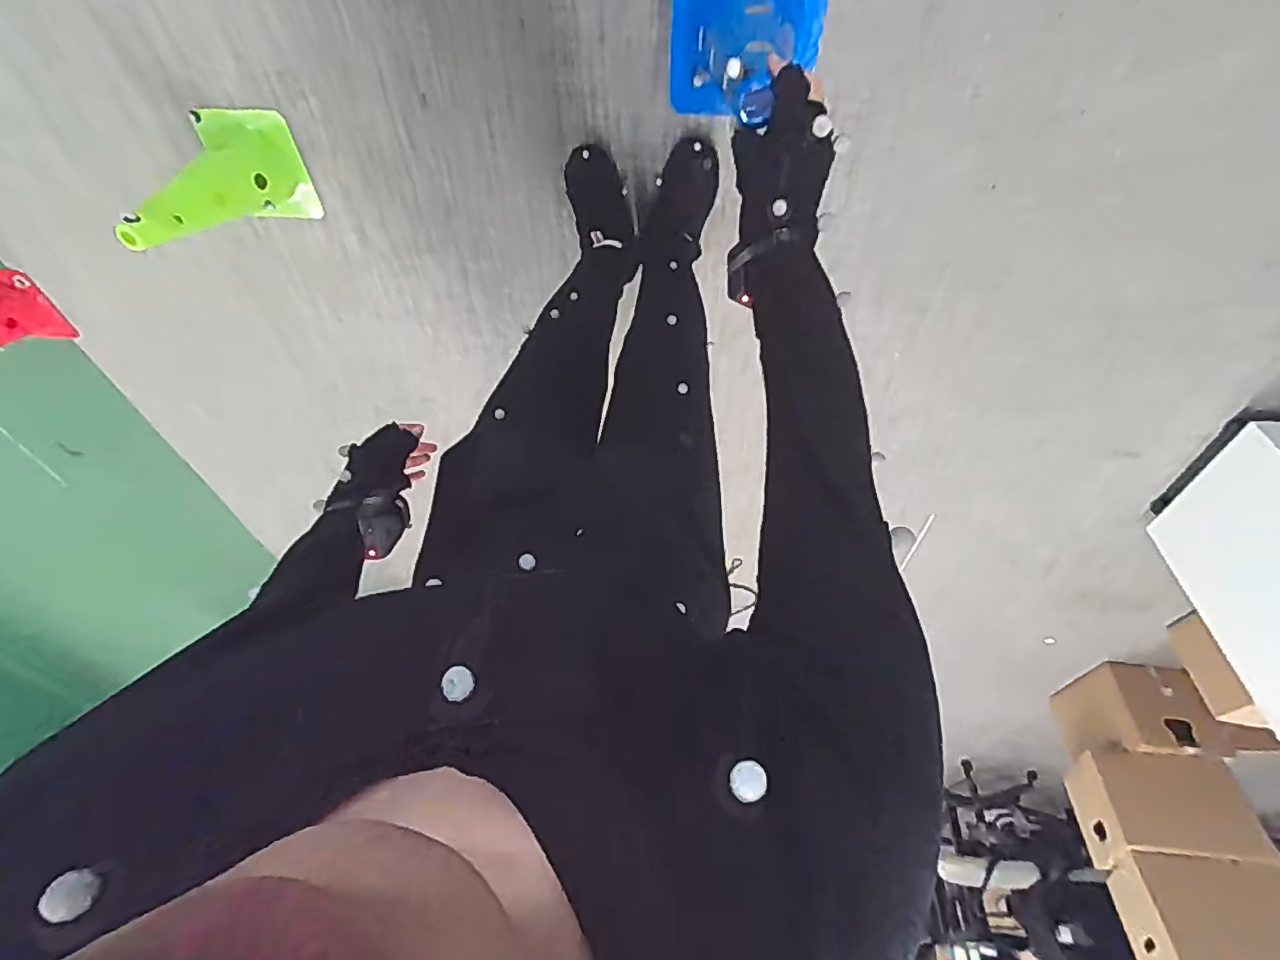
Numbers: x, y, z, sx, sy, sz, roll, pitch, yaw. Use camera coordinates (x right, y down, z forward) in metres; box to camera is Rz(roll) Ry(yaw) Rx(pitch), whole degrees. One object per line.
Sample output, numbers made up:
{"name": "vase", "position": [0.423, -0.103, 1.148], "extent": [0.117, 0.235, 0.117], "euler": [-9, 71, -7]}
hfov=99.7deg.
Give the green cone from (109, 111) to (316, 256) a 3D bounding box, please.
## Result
{"name": "green cone", "position": [-0.807, -0.504, 0.982], "extent": [0.202, 0.368, 0.200], "euler": [3, 138, 6]}
